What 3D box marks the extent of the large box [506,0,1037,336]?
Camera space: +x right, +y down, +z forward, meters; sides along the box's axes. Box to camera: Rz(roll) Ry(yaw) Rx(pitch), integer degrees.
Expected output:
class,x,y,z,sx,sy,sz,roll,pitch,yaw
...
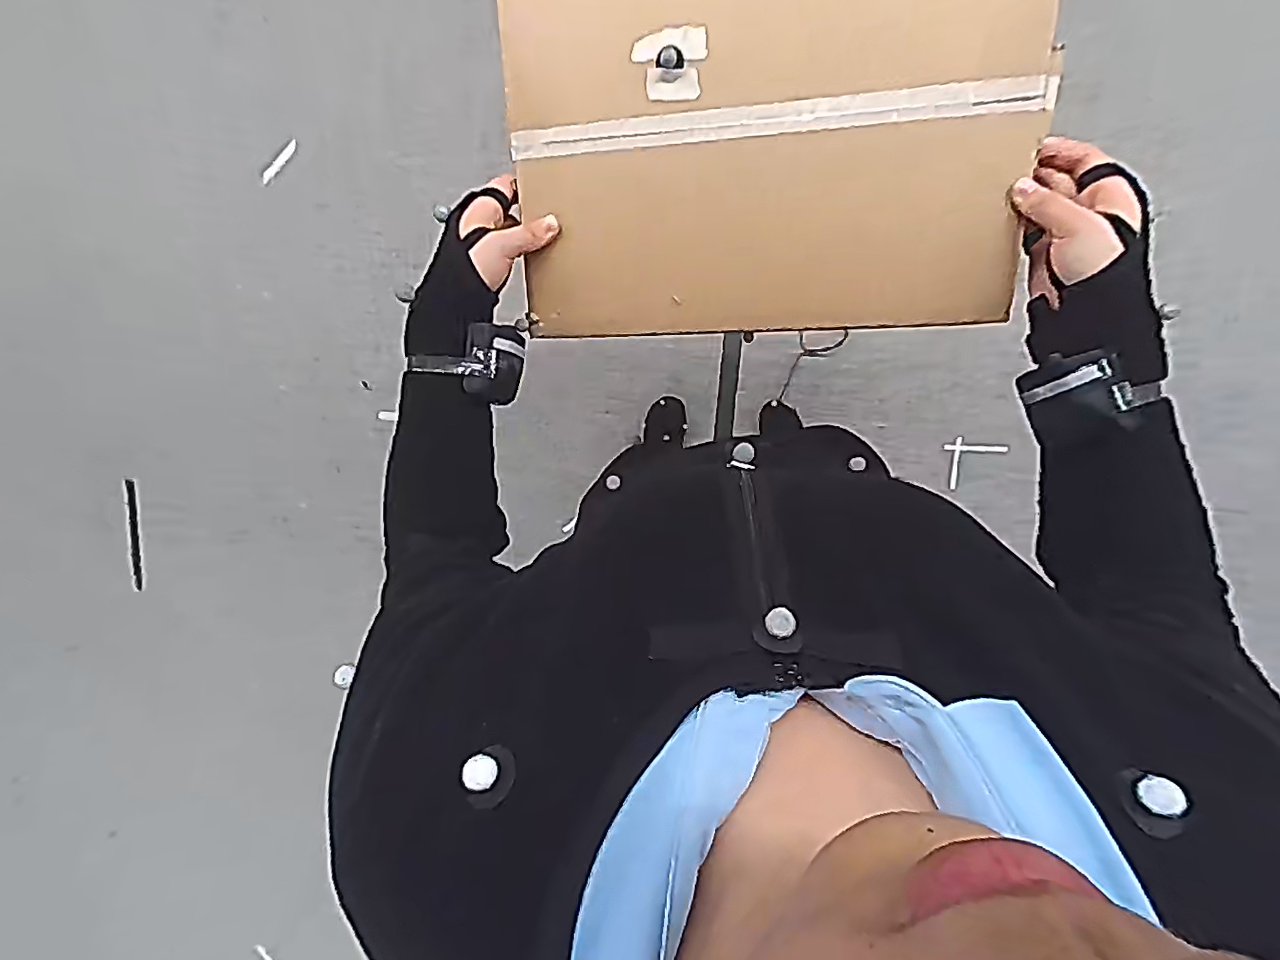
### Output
class,x,y,z,sx,sy,sz,roll,pitch,yaw
large box,0.118,-0.326,0.576,0.408,0.320,0.320,1,106,11
